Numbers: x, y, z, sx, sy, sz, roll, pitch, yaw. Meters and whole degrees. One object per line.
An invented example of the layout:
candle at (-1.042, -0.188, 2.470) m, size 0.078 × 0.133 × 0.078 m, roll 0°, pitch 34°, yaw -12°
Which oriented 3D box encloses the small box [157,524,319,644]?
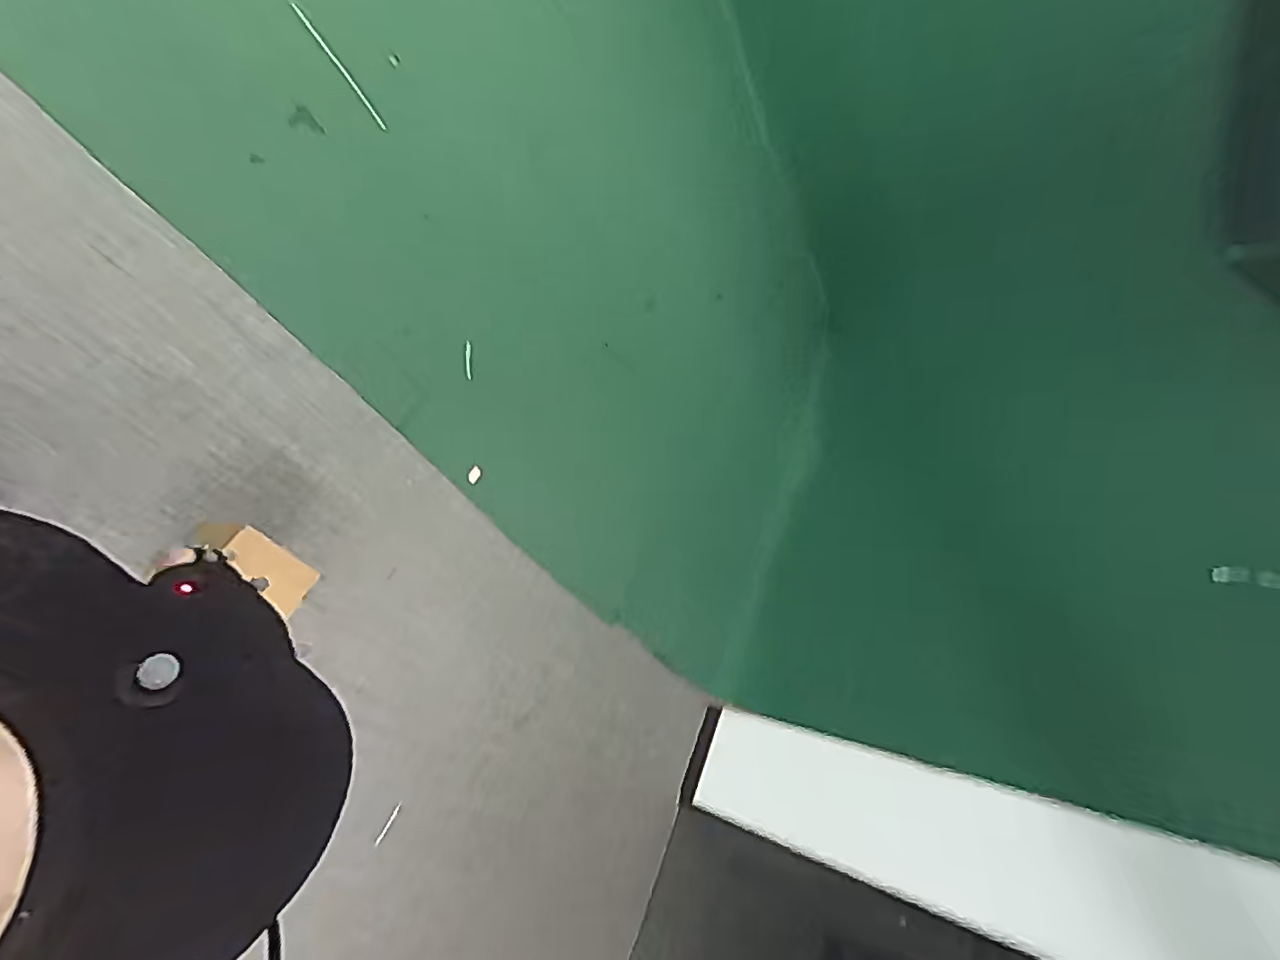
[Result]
small box at (-0.796, 0.198, 1.073) m, size 0.179 × 0.176 × 0.168 m, roll 54°, pitch 50°, yaw -34°

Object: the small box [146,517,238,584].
small box at (-0.919, 0.198, 1.179) m, size 0.179 × 0.176 × 0.168 m, roll 57°, pitch 50°, yaw -32°
